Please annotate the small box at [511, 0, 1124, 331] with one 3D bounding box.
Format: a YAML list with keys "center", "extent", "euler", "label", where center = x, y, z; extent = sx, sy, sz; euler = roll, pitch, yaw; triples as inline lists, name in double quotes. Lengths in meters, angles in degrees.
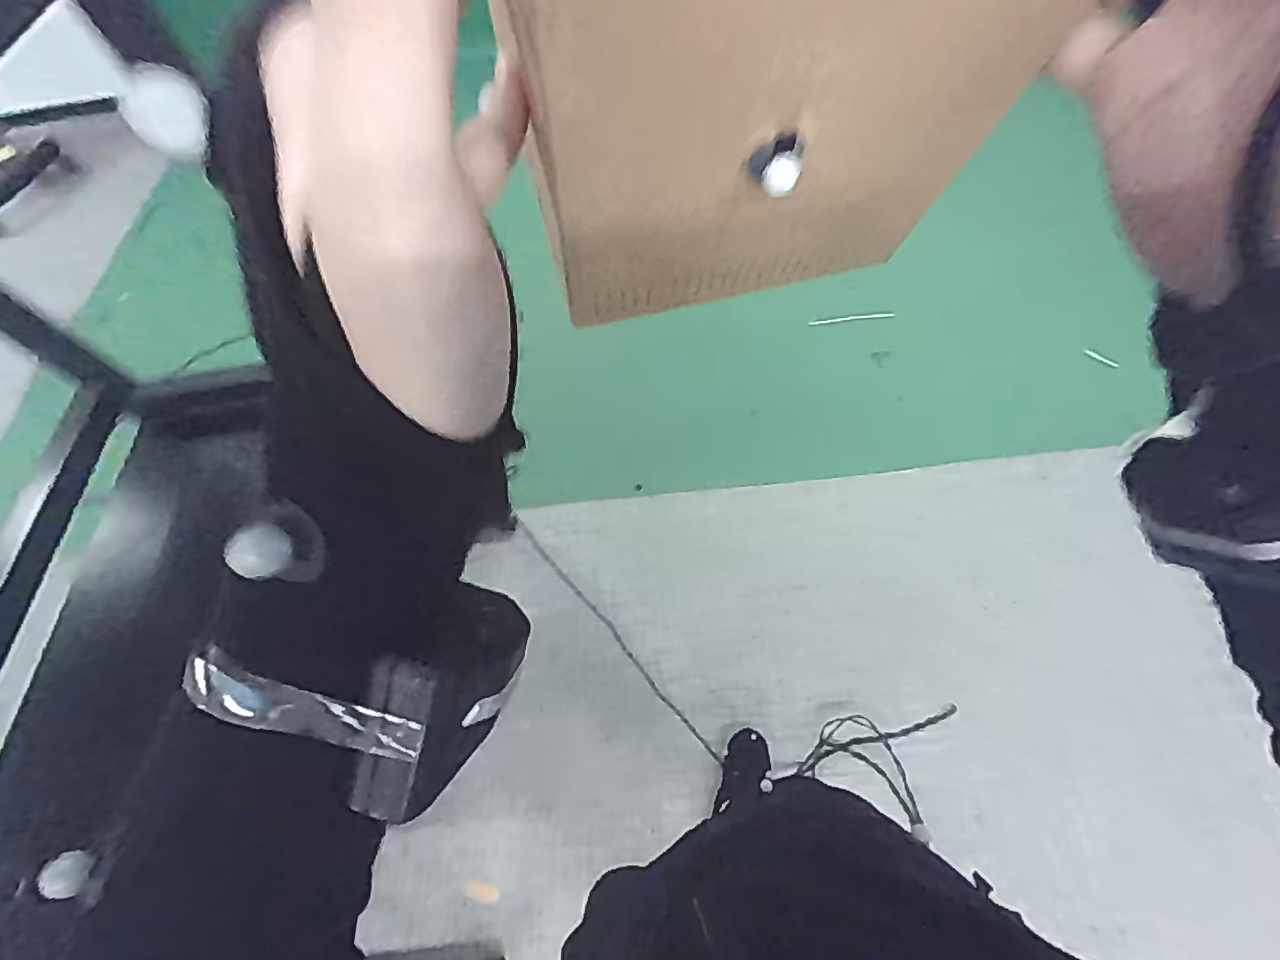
- center: [0.040, -0.187, 0.228]
  extent: [0.179, 0.176, 0.168]
  euler: [-14, 77, -5]
  label: "small box"
